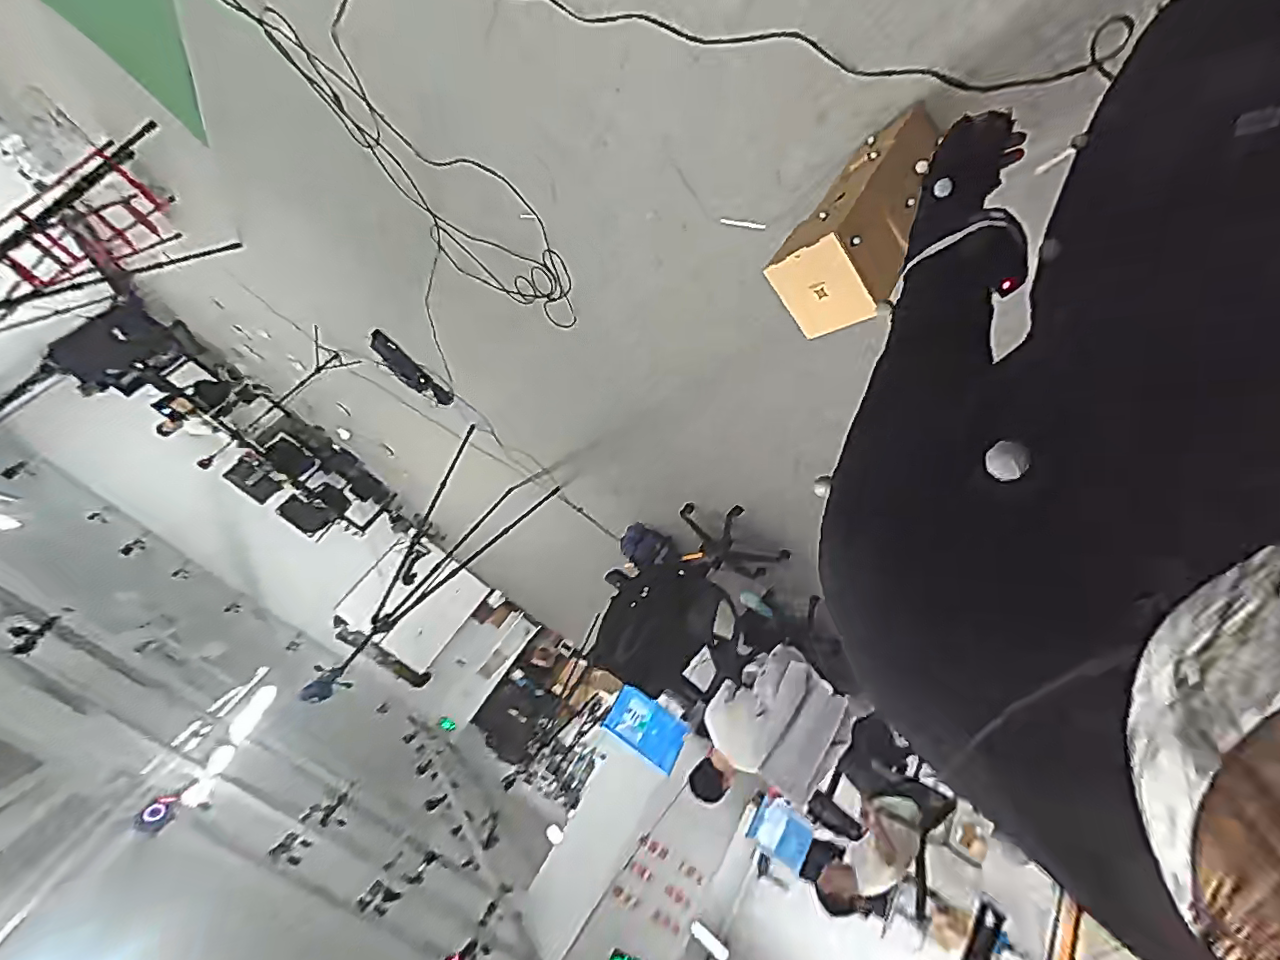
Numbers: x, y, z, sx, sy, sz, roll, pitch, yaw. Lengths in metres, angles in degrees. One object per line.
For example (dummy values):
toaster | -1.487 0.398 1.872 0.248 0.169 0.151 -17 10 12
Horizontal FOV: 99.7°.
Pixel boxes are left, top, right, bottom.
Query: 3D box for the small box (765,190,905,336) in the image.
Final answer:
small box | 0.386 -0.419 1.057 0.179 0.176 0.168 47 152 -22

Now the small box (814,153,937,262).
small box | 0.477 -0.538 1.120 0.179 0.176 0.168 44 153 -18

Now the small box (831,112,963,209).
small box | 0.564 -0.664 1.186 0.179 0.176 0.168 44 156 -14
